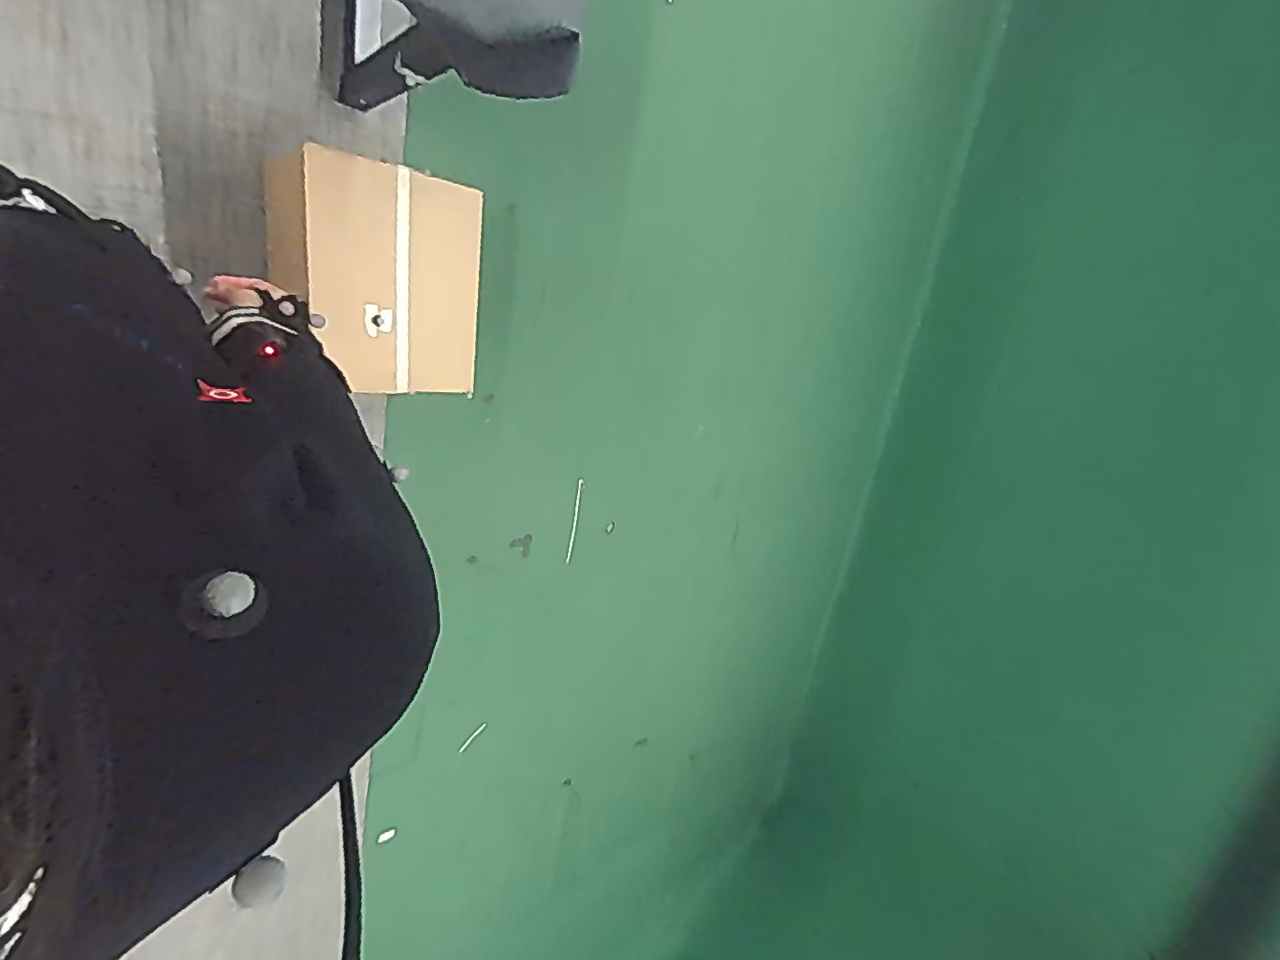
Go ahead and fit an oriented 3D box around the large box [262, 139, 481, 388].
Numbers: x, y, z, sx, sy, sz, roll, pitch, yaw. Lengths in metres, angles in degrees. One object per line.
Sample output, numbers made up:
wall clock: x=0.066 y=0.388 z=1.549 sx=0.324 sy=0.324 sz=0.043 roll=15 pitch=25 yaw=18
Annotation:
large box: x=-0.548 y=-0.418 z=1.110 sx=0.320 sy=0.320 sz=0.408 roll=-8 pitch=114 yaw=-43
